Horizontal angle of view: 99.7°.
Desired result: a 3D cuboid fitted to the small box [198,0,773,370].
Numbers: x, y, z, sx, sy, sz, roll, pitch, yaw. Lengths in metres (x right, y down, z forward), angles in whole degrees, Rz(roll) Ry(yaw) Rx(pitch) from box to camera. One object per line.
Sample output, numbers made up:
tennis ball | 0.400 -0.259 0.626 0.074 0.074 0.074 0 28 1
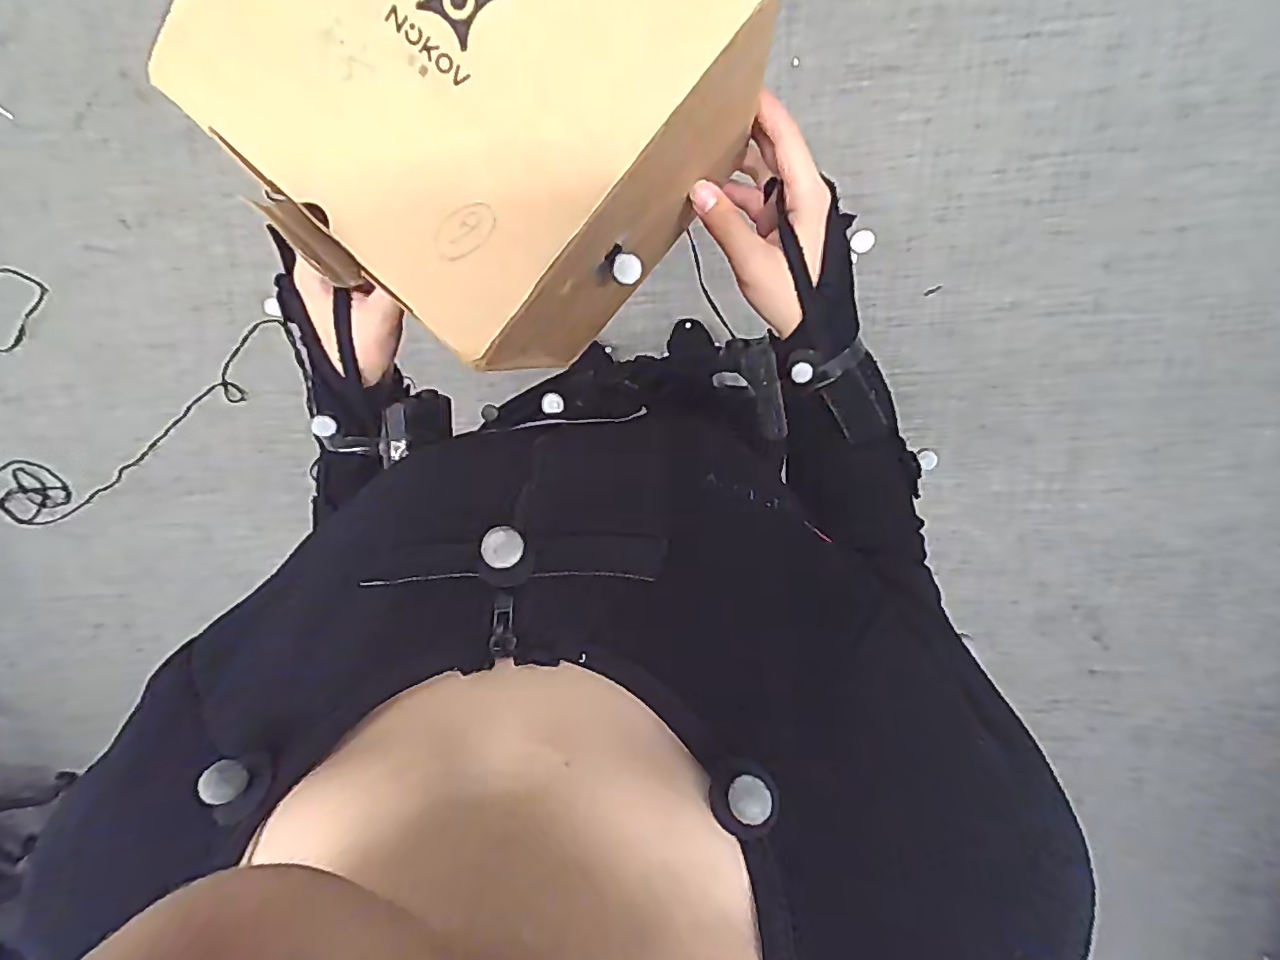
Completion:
small box | -0.056 -0.176 0.282 0.168 0.176 0.179 42 103 -4
